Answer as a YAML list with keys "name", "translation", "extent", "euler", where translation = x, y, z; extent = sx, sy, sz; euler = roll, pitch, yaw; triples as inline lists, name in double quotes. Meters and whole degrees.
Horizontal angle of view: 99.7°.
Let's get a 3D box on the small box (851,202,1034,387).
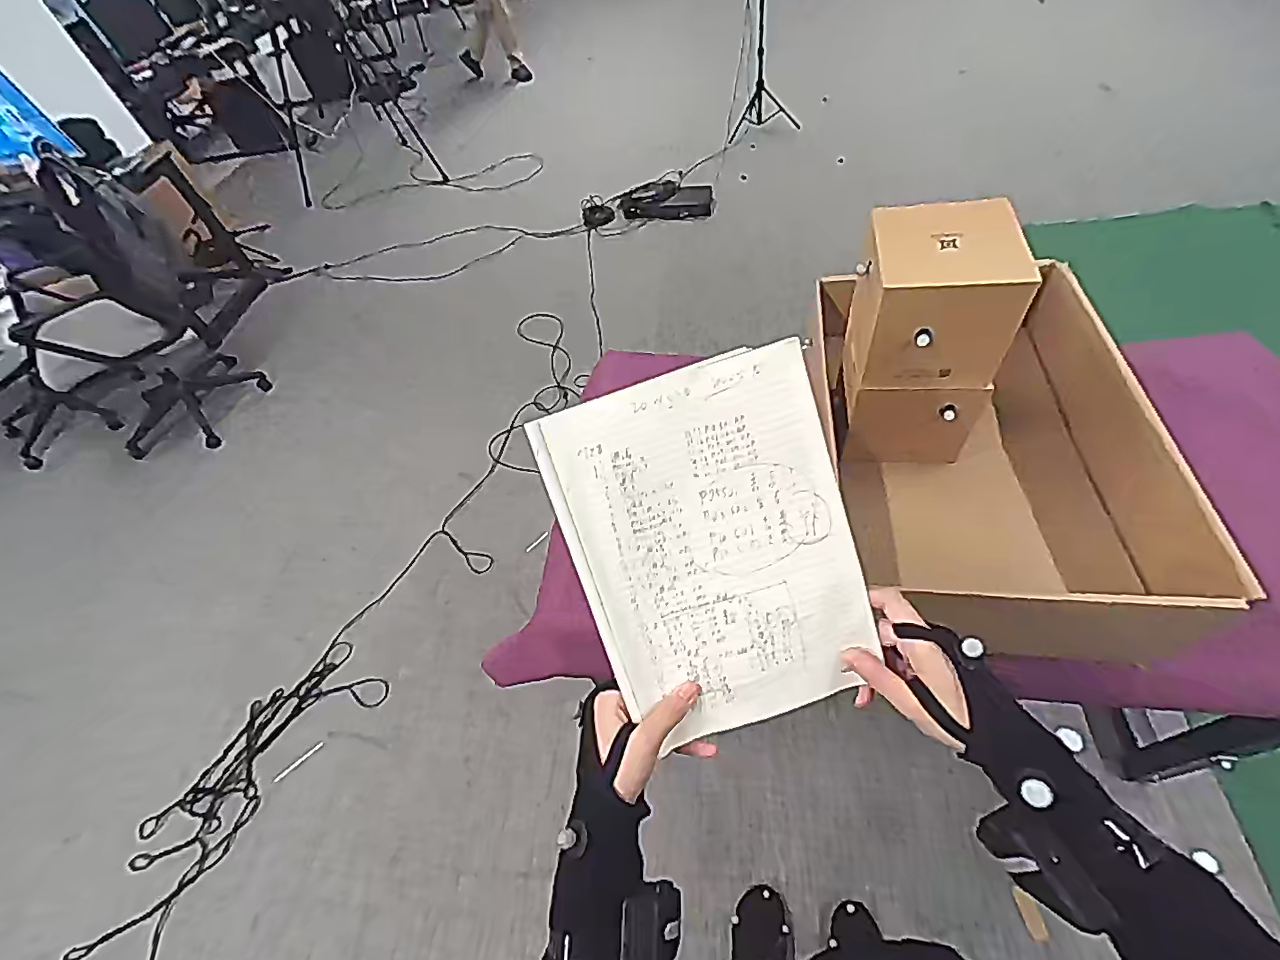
- name: "small box"
  translation: [0.384, -0.239, 0.724]
  extent: [0.168, 0.176, 0.179]
  euler: [2, 54, 13]
